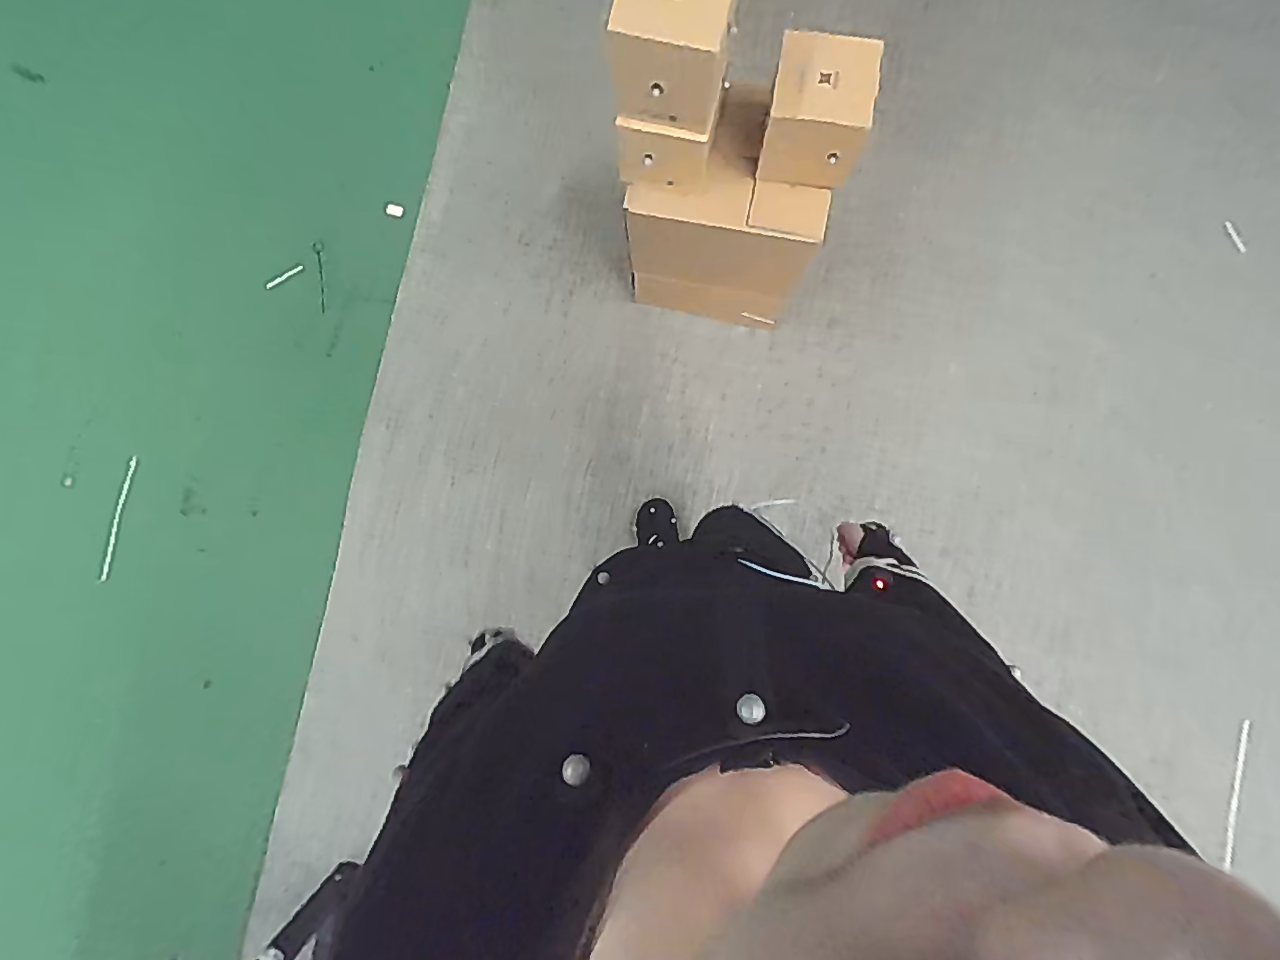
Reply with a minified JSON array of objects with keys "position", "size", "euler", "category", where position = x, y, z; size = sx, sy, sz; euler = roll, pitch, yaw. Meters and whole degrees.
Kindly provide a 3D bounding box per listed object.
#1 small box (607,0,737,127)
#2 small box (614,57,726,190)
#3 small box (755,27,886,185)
[{"position":[0.054,-0.702,0.848],"size":[0.168,0.176,0.179],"euler":[15,87,1],"category":"small box"},{"position":[0.055,-0.680,1.011],"size":[0.168,0.176,0.179],"euler":[13,87,1],"category":"small box"},{"position":[0.325,-0.682,1.005],"size":[0.179,0.176,0.168],"euler":[11,86,4],"category":"small box"}]
